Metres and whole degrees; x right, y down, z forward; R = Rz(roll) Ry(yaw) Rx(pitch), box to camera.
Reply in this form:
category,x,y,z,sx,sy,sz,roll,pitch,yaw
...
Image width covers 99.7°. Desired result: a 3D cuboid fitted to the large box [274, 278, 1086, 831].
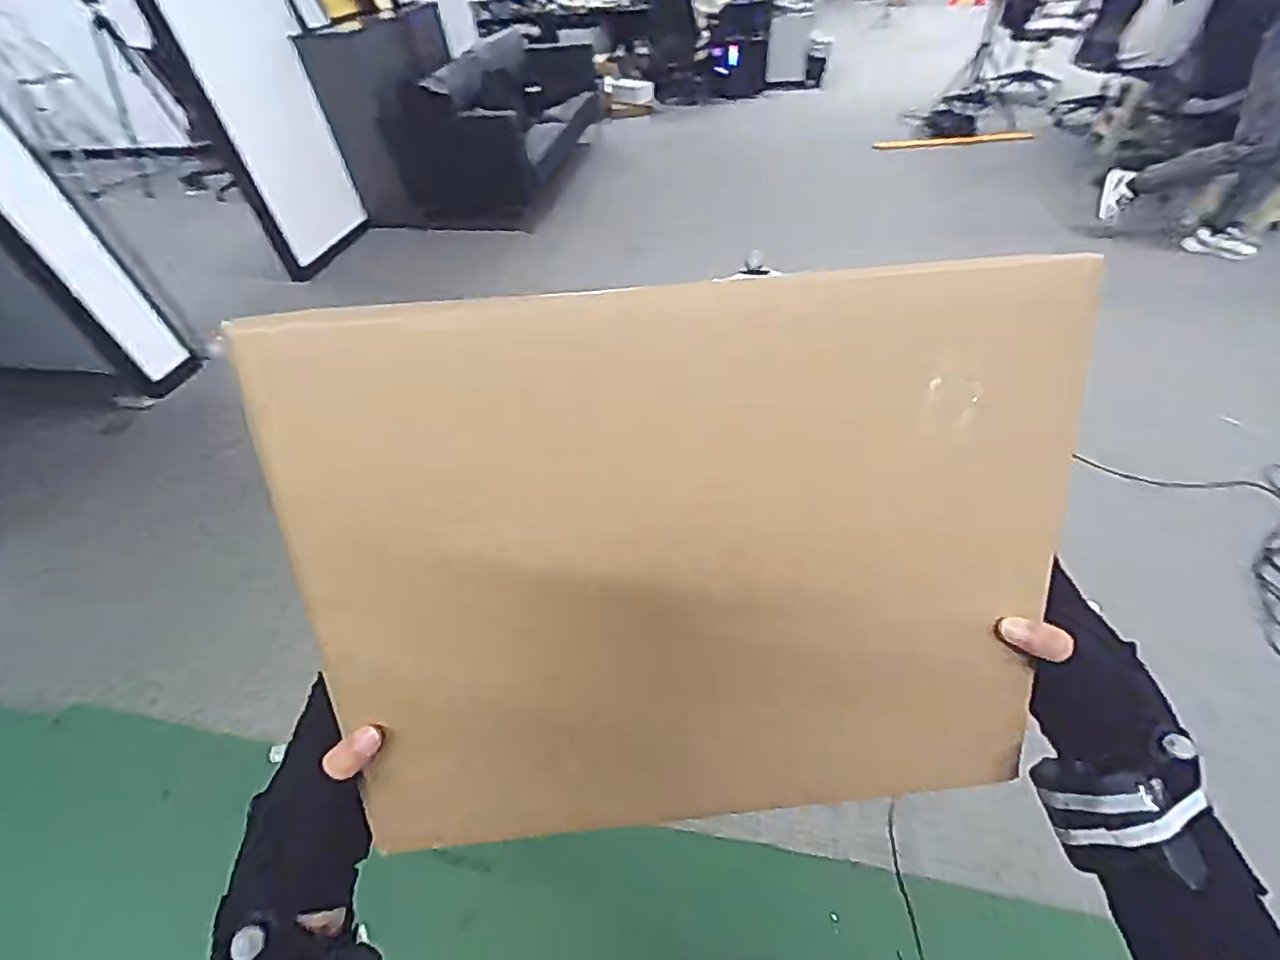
category,x,y,z,sx,sy,sz,roll,pitch,yaw
large box,0.023,0.019,0.441,0.408,0.320,0.320,-4,18,-3
